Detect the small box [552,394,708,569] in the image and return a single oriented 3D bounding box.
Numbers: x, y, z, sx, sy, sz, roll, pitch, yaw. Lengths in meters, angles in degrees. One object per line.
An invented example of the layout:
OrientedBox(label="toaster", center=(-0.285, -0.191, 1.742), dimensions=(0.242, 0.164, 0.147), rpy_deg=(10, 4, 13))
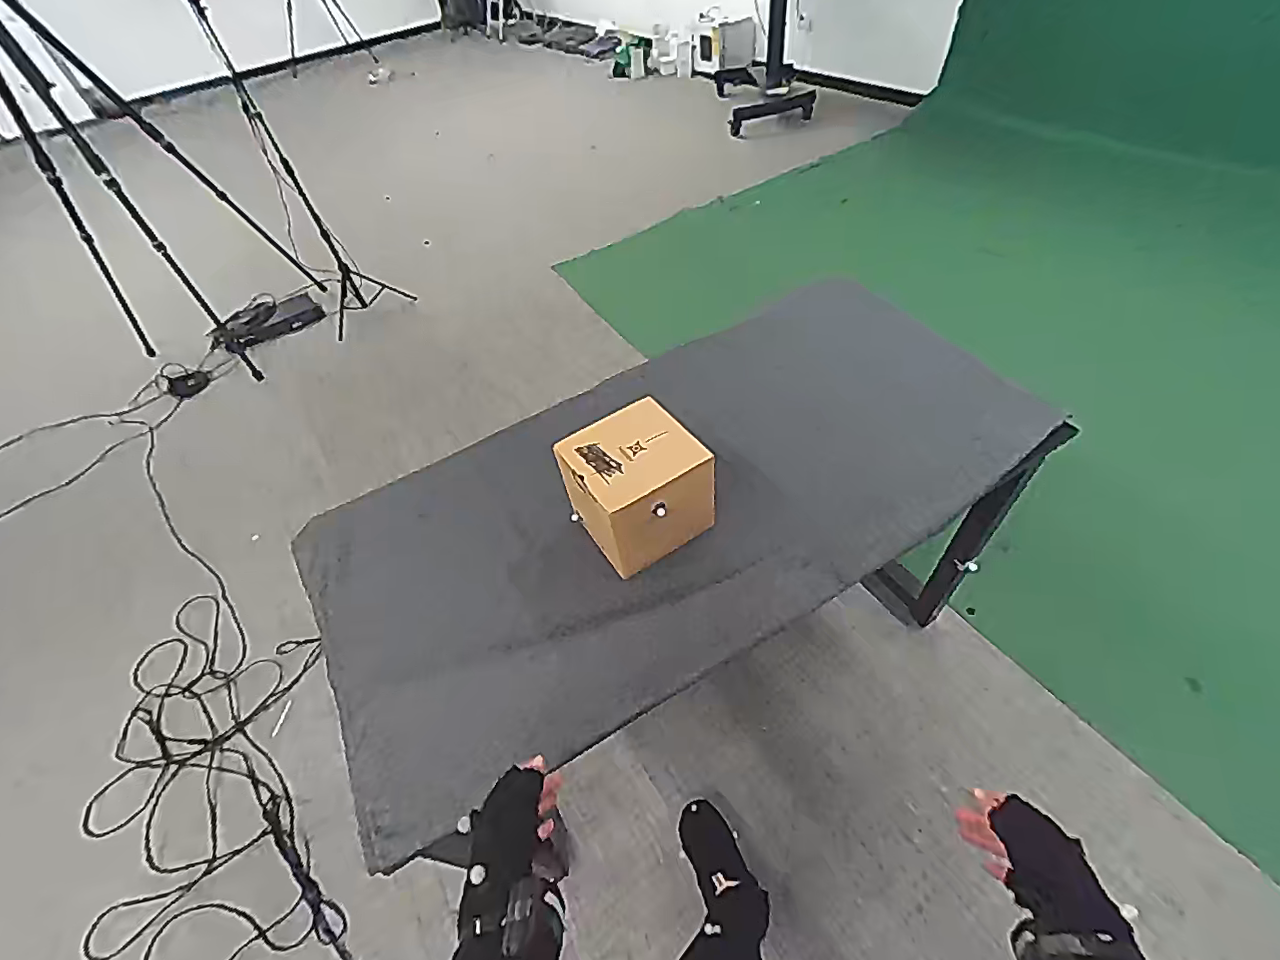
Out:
OrientedBox(label="small box", center=(-0.008, 0.005, 0.835), dimensions=(0.179, 0.176, 0.168), rpy_deg=(-29, 52, -17))
